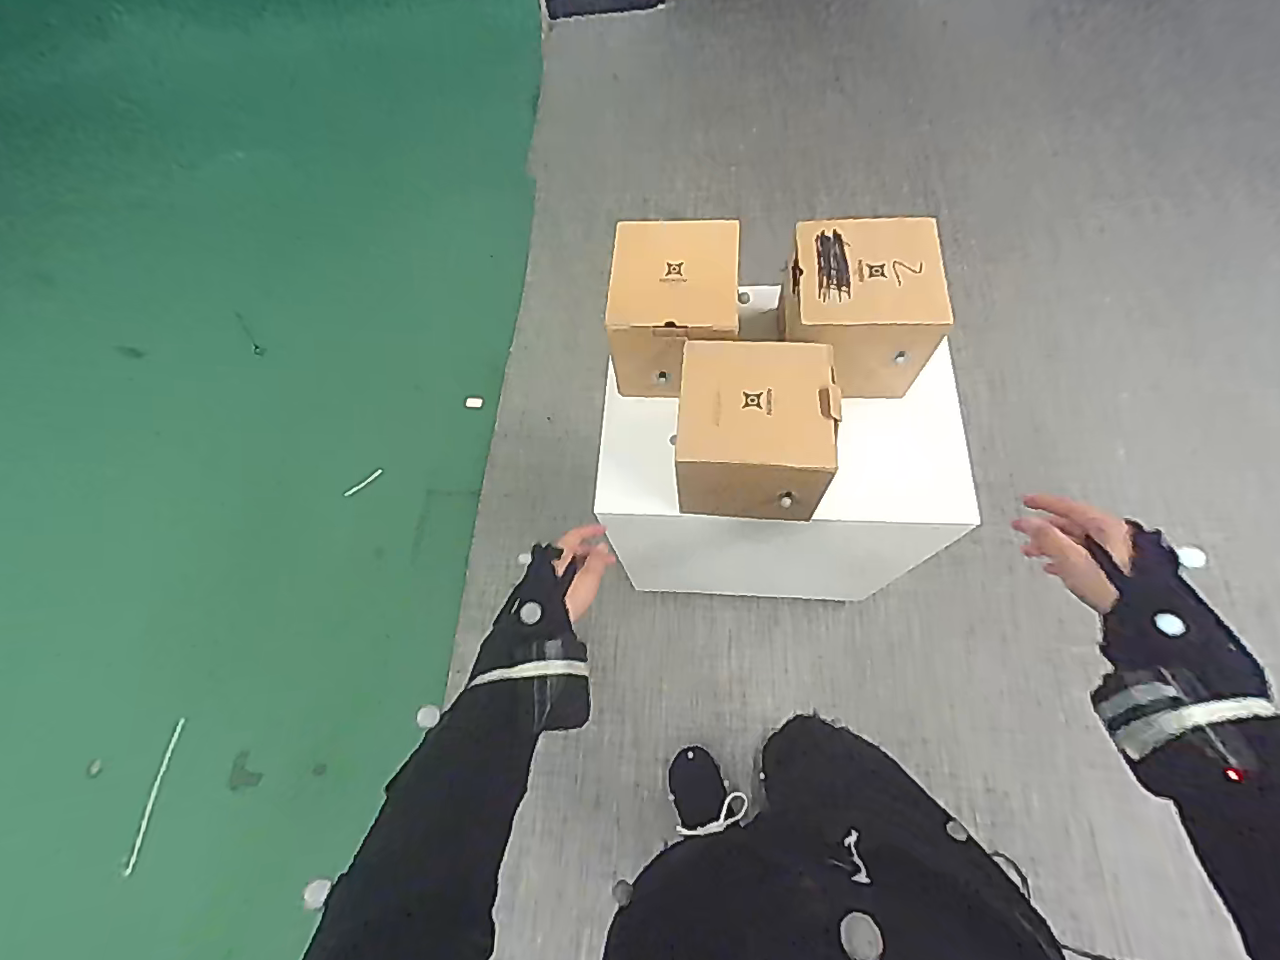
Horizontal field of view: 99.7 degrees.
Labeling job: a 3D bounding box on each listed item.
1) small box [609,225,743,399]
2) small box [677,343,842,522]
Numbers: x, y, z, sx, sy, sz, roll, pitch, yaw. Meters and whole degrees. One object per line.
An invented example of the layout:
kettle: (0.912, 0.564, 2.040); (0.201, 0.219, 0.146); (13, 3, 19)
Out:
small box: (0.054, -0.231, 0.767); (0.168, 0.176, 0.179); (2, 68, 6)
small box: (0.143, -0.052, 0.680); (0.179, 0.176, 0.168); (2, 65, 9)
